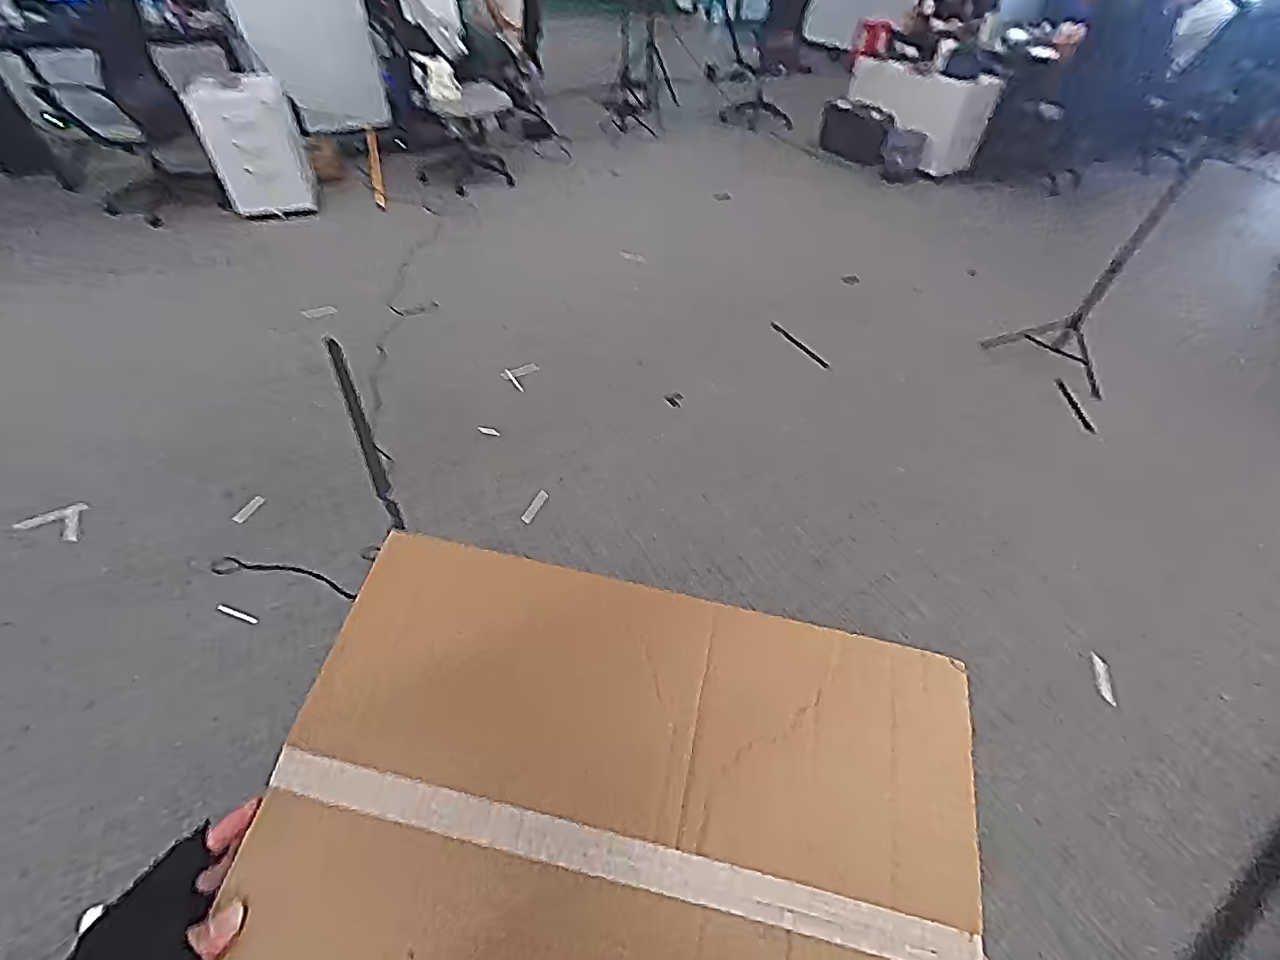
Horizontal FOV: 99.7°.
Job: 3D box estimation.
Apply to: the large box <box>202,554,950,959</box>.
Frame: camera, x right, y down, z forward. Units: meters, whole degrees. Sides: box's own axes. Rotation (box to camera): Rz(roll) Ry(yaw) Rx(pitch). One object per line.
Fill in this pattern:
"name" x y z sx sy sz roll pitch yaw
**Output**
"large box" -0.026 0.289 0.445 0.408 0.320 0.320 11 63 5
